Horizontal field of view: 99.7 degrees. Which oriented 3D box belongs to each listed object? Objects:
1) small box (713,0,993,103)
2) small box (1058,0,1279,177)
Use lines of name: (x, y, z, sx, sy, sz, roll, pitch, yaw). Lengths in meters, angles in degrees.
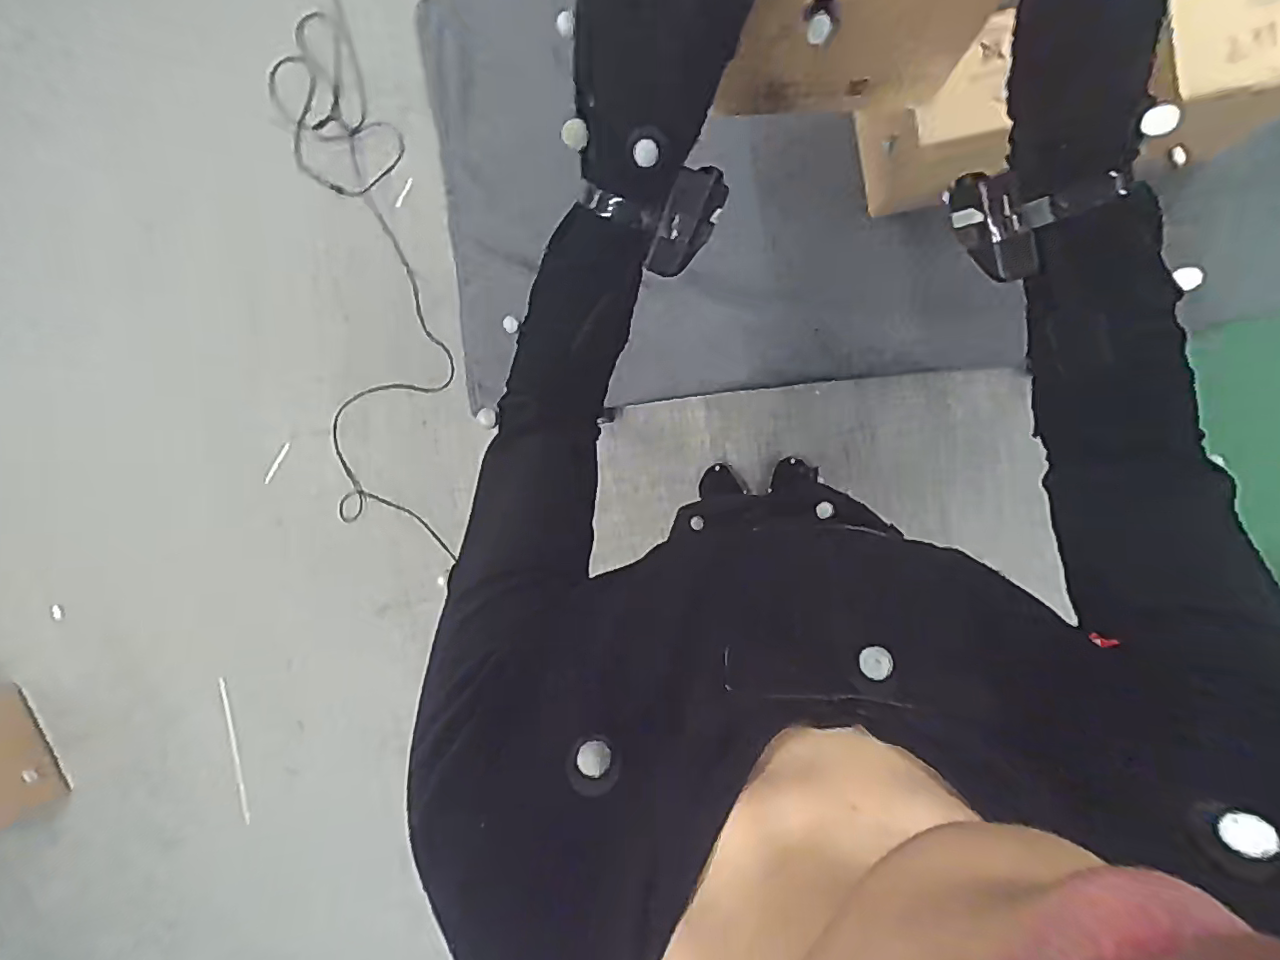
small box: (0.133, -0.363, 0.326, 0.168, 0.176, 0.179, 1, 89, 4)
small box: (0.597, -0.473, 0.589, 0.168, 0.176, 0.179, -8, 90, 8)
